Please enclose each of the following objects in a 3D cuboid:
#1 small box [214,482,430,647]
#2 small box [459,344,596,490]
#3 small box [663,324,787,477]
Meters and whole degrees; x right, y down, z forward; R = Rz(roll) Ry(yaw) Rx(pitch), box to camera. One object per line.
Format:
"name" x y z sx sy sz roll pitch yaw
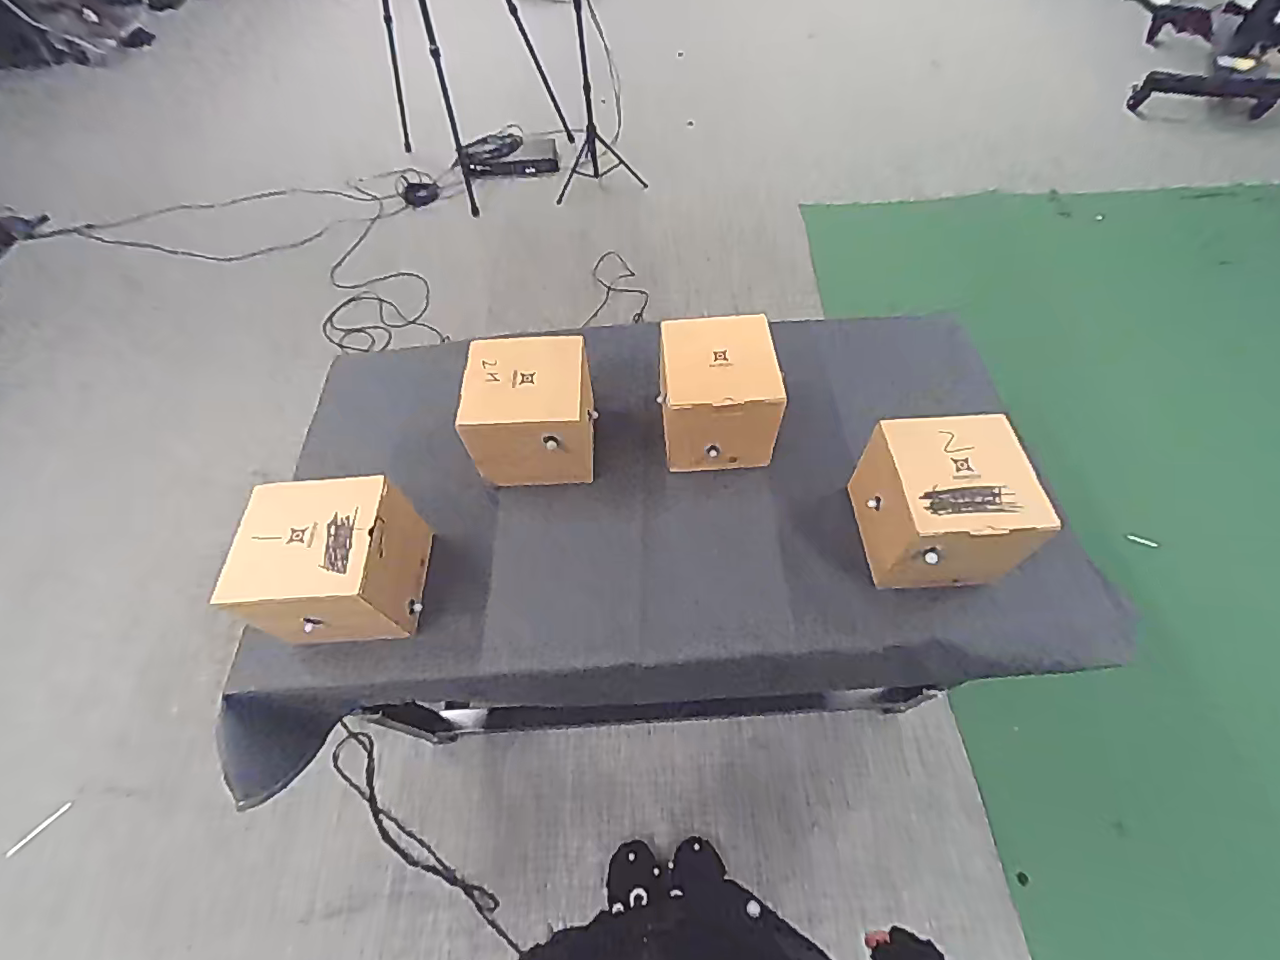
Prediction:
"small box" -0.404 0.119 0.729 0.179 0.176 0.168 -4 57 0
"small box" -0.164 -0.095 0.856 0.179 0.176 0.168 -2 58 1
"small box" 0.124 -0.124 0.867 0.168 0.176 0.179 -4 58 0
